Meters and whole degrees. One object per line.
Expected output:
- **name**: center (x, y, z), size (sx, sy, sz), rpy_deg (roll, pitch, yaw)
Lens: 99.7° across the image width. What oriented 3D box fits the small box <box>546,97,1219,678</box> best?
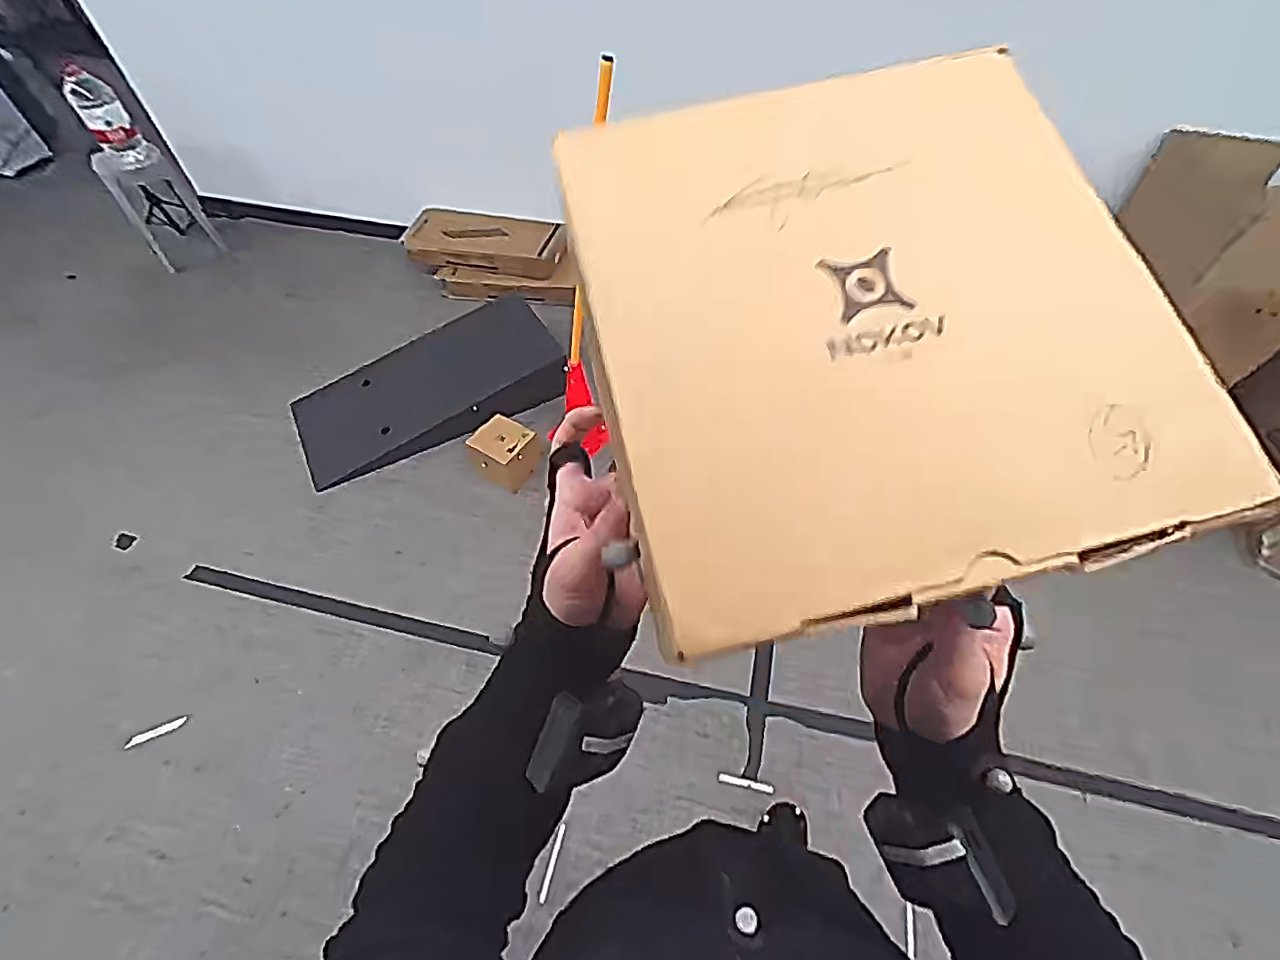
- **small box**: center (0.068, -0.021, 0.251), size (0.168, 0.176, 0.179), rpy_deg (-15, 71, -3)
